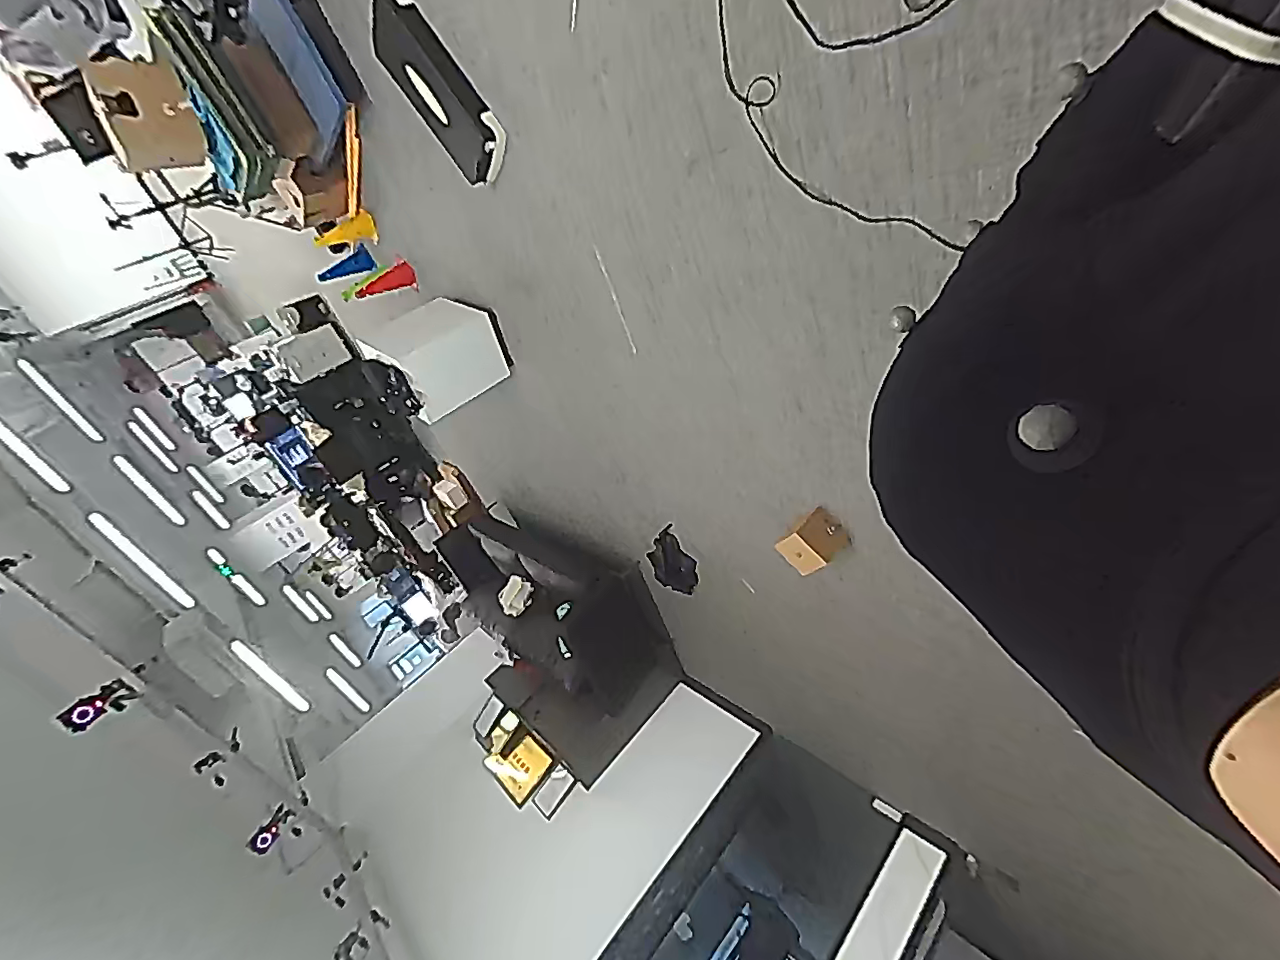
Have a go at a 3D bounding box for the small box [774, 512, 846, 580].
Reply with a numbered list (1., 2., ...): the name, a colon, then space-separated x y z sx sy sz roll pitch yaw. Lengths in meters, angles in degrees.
1. small box: 0.657 0.253 2.080 0.168 0.176 0.179 45 151 7
